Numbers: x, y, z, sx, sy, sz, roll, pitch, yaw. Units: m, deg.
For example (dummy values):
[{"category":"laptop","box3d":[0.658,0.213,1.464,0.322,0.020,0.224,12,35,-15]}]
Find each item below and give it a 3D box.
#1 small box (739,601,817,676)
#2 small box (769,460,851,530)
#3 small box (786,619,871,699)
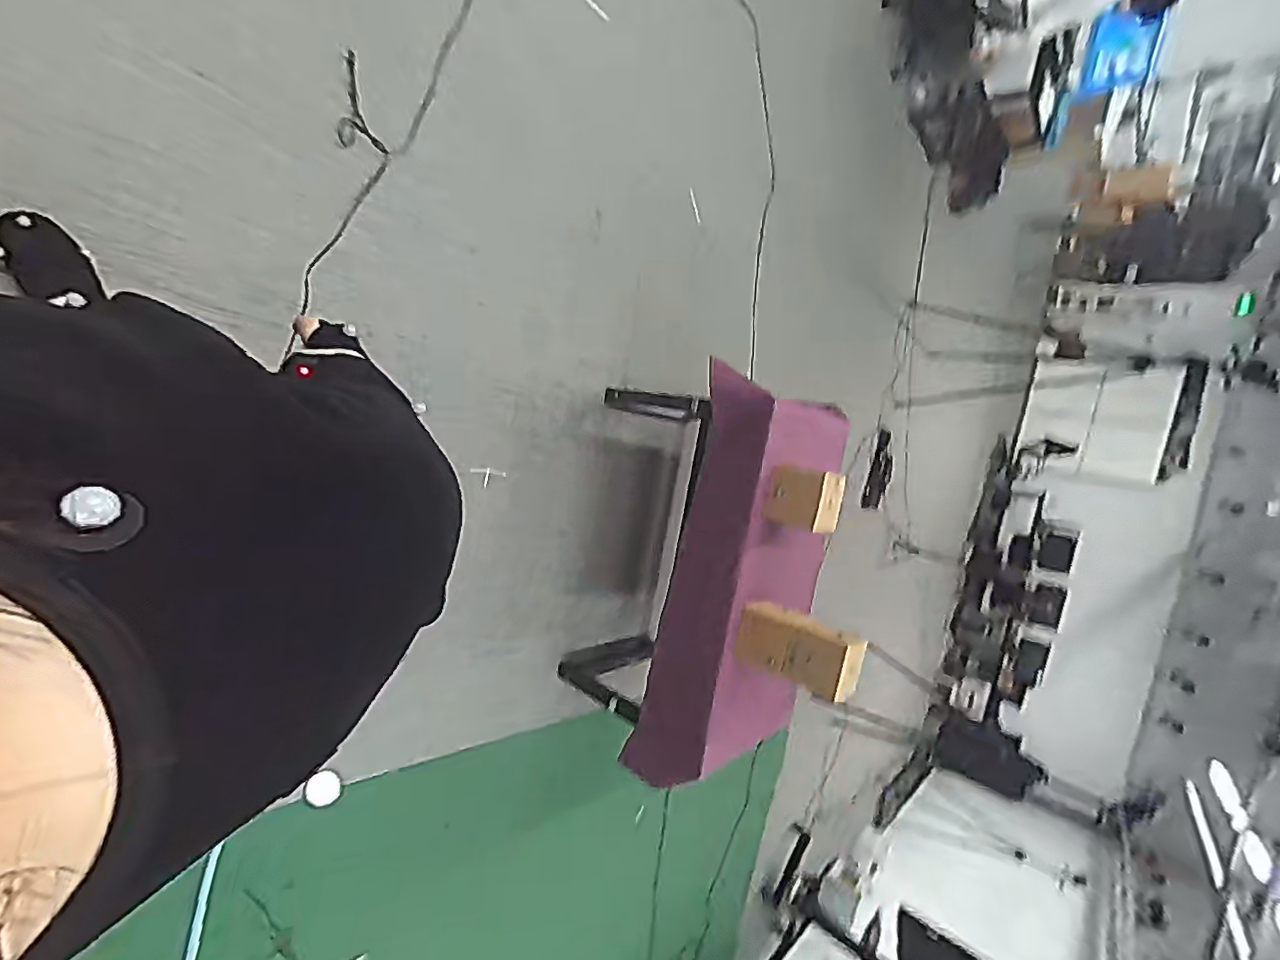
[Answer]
[{"category":"small box","box3d":[0.433,0.489,1.706,0.168,0.176,0.179,8,96,-49]},{"category":"small box","box3d":[0.518,0.047,1.664,0.168,0.176,0.179,7,97,-49]},{"category":"small box","box3d":[0.556,0.523,1.602,0.179,0.176,0.168,11,94,-49]}]
